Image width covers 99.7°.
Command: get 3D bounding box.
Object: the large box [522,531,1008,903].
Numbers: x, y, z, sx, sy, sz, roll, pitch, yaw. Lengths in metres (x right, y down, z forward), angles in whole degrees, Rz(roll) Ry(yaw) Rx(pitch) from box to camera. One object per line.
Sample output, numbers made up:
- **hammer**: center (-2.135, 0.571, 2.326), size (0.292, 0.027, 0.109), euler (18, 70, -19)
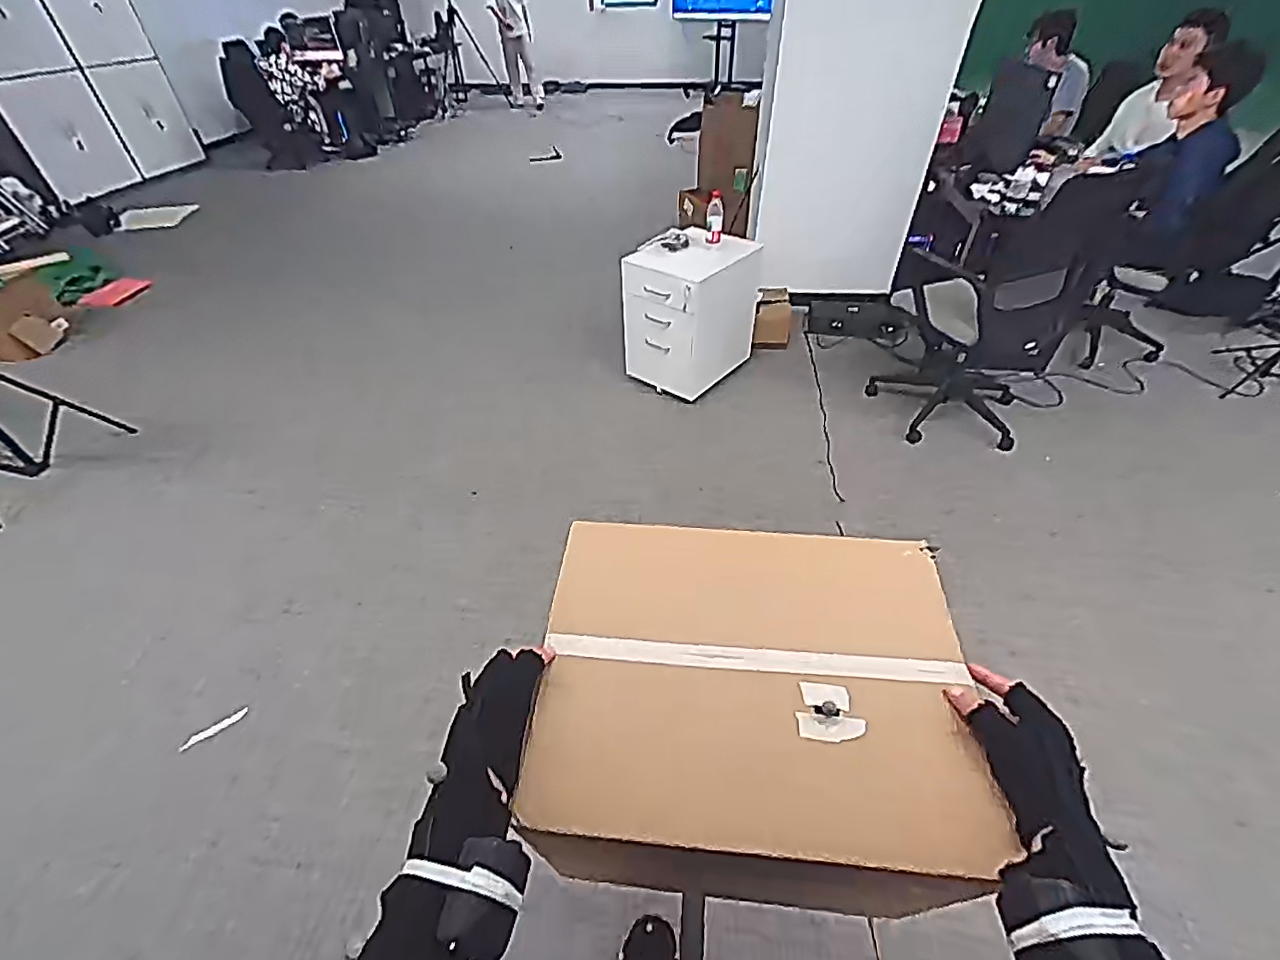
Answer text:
- **large box**: center (0.111, 0.282, 0.649), size (0.408, 0.320, 0.320), euler (3, 49, 5)
